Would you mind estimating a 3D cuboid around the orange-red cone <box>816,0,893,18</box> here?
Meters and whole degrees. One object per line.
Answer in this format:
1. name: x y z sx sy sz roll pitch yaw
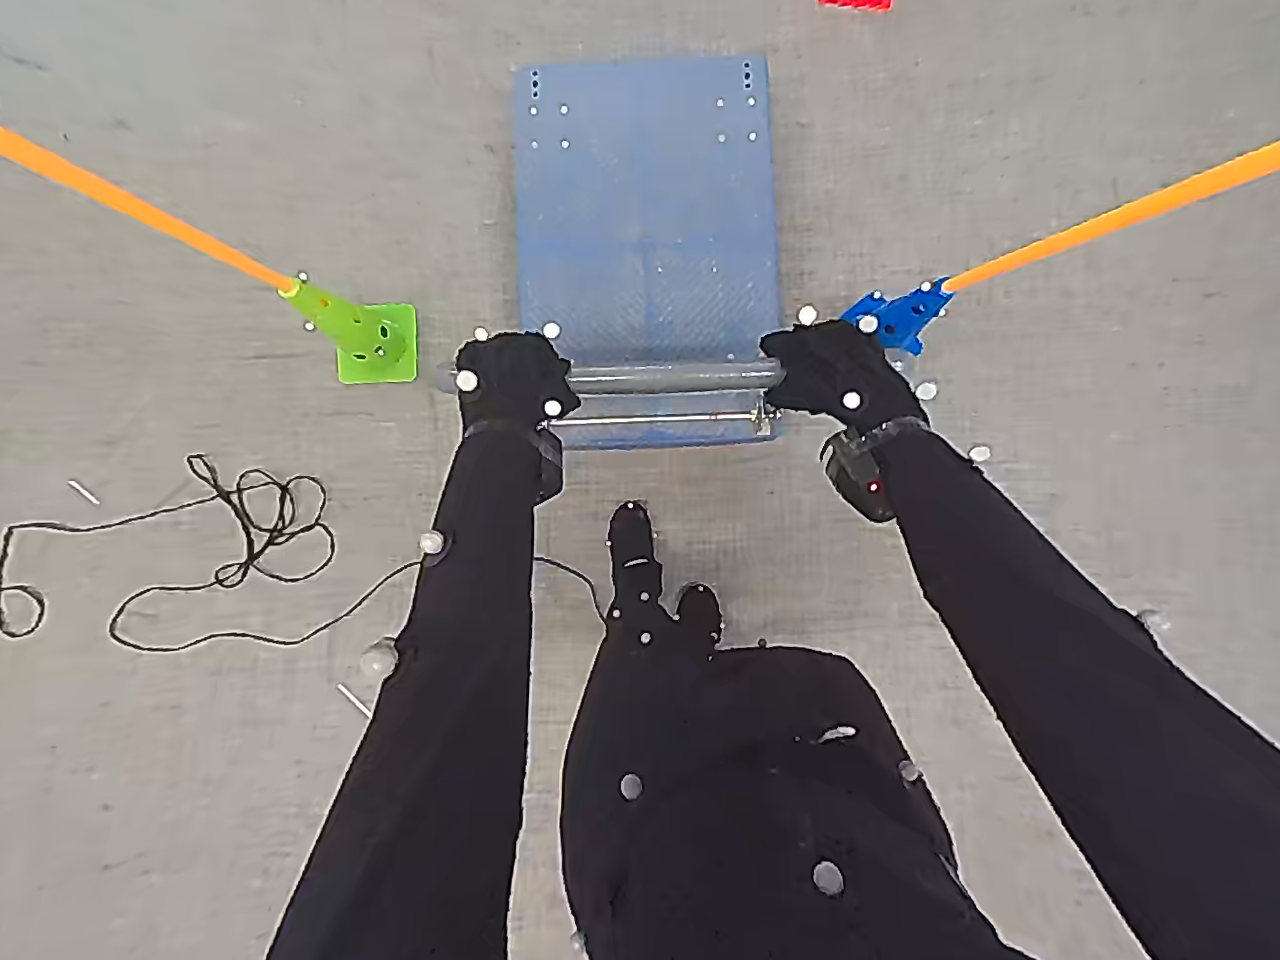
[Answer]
1. orange-red cone: 0.570 -1.326 1.252 0.198 0.360 0.199 10 88 2
